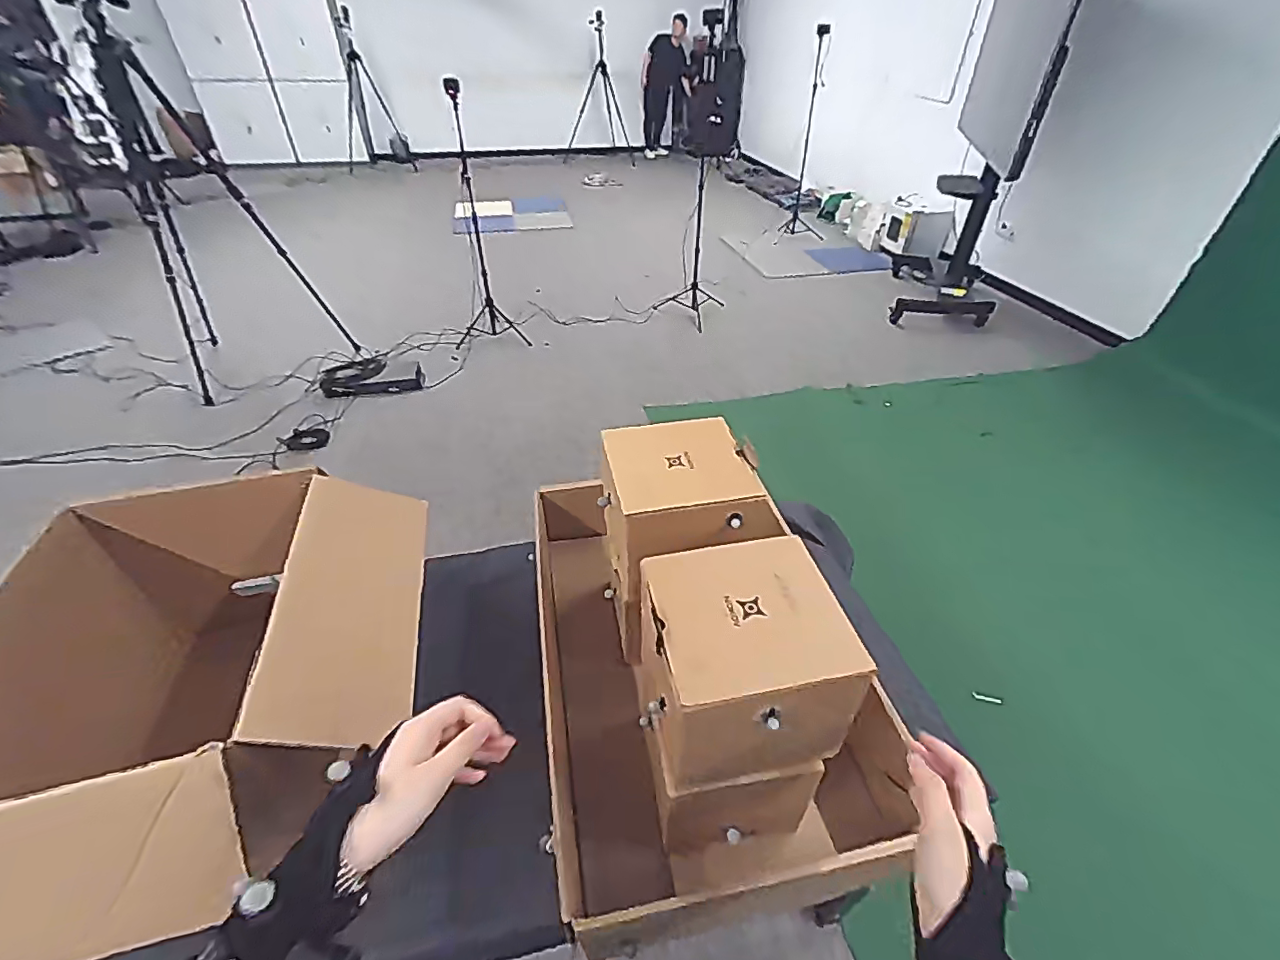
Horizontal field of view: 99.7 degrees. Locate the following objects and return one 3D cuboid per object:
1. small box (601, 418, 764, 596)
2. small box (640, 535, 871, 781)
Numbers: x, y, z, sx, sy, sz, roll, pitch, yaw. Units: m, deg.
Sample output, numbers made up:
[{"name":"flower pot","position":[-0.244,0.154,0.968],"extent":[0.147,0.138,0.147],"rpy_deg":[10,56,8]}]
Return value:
[{"name":"small box","position":[0.047,0.038,0.734],"extent":[0.179,0.176,0.168],"rpy_deg":[-7,43,-10]},{"name":"small box","position":[0.101,0.183,0.560],"extent":[0.179,0.176,0.168],"rpy_deg":[-8,41,-9]}]
